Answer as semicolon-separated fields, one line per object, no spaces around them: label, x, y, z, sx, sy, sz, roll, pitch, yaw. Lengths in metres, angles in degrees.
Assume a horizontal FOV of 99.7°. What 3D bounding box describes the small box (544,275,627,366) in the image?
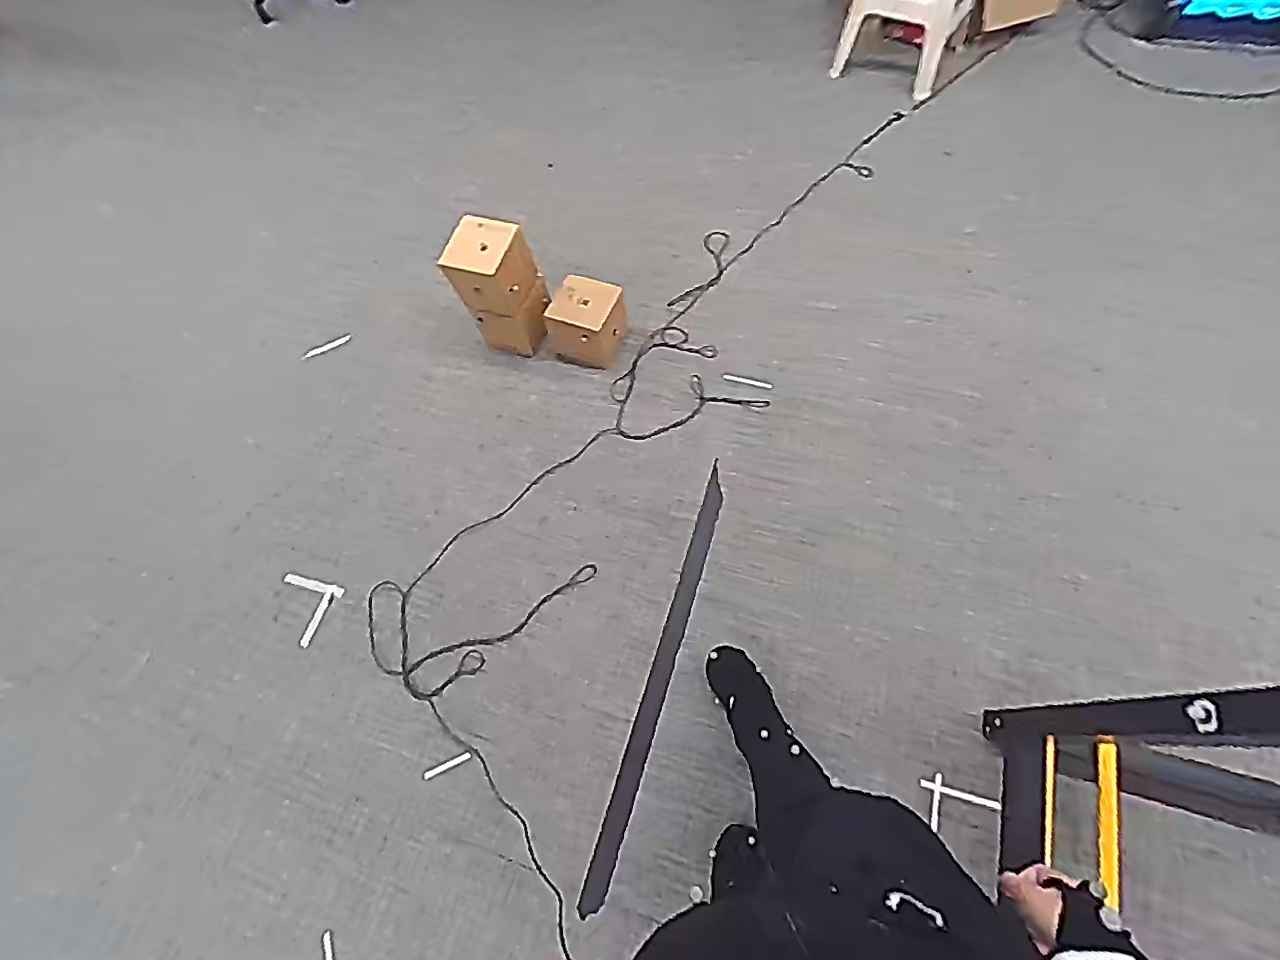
small box;-0.150;-0.457;1.572;0.179;0.176;0.168;20;67;14
